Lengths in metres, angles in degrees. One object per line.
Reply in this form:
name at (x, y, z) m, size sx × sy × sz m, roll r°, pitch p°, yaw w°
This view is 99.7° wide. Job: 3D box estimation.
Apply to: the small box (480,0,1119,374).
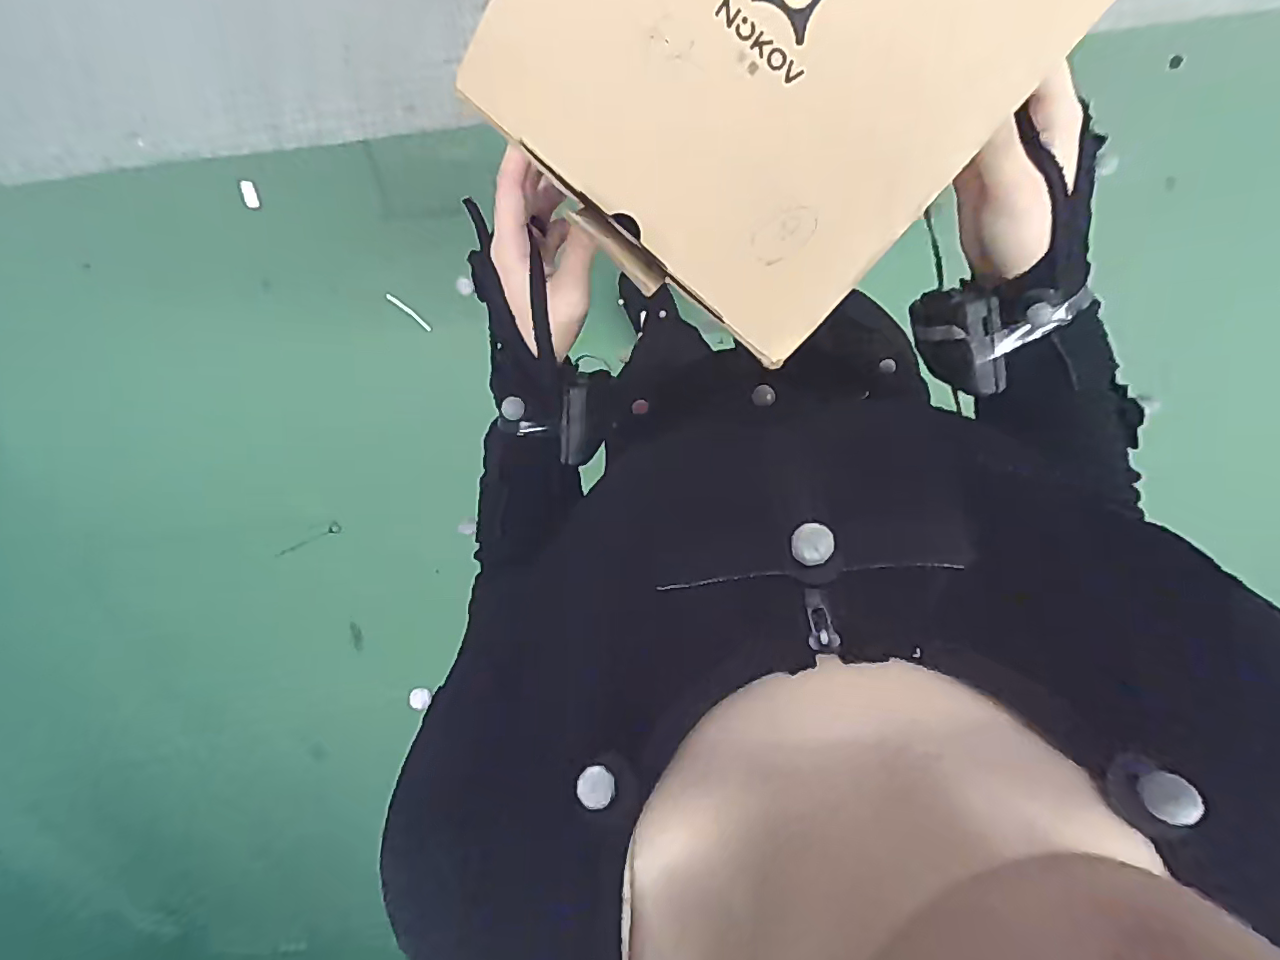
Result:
small box at (0.059, -0.183, 0.273) m, size 0.168 × 0.176 × 0.179 m, roll 38°, pitch 112°, yaw -8°
